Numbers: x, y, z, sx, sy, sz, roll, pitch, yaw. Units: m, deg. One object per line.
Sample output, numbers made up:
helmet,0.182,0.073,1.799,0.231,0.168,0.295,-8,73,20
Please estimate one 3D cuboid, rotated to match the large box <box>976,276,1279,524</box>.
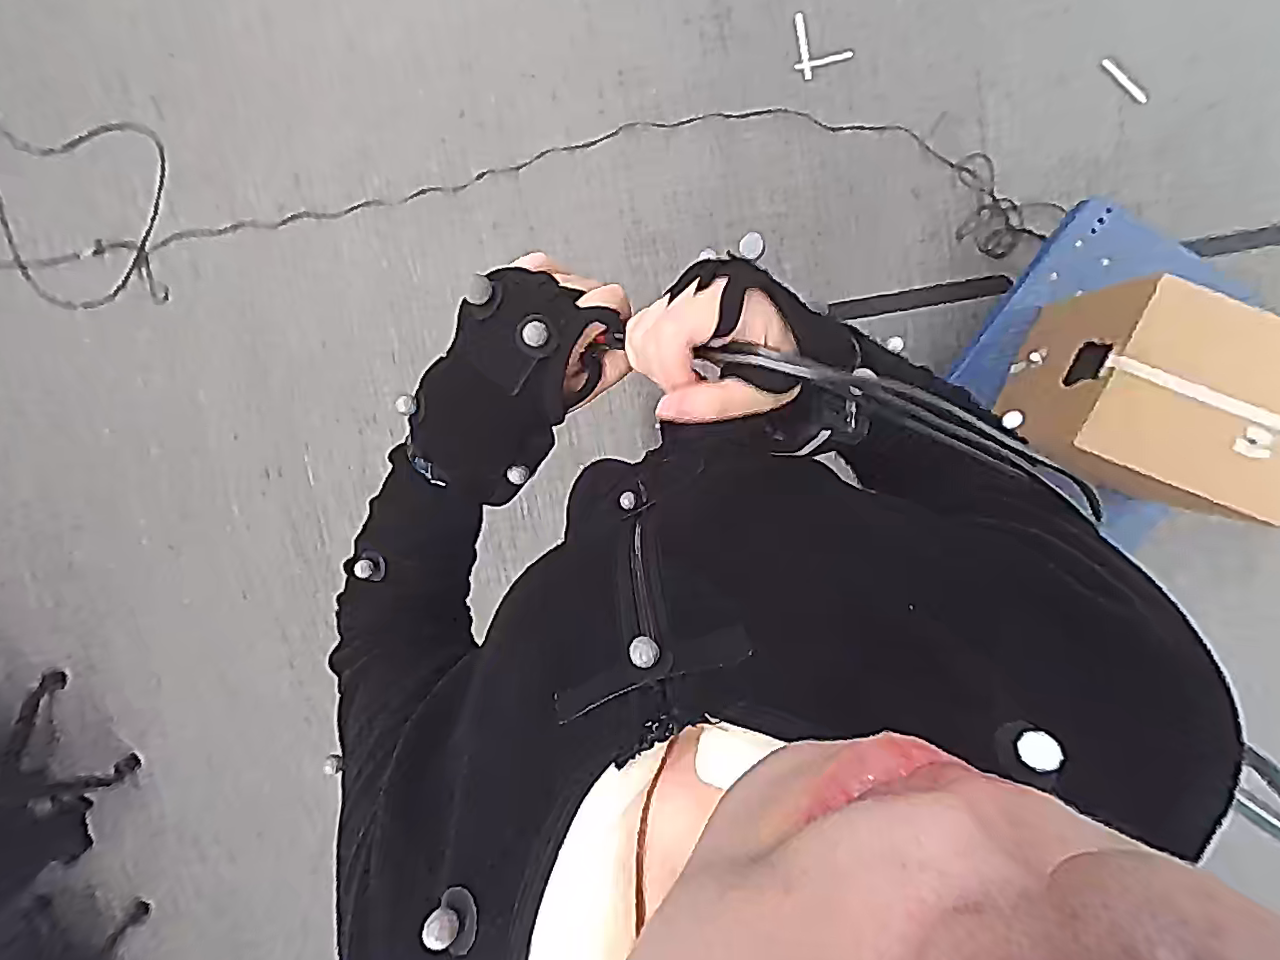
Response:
large box,0.989,-0.152,1.068,0.408,0.320,0.320,22,100,1
